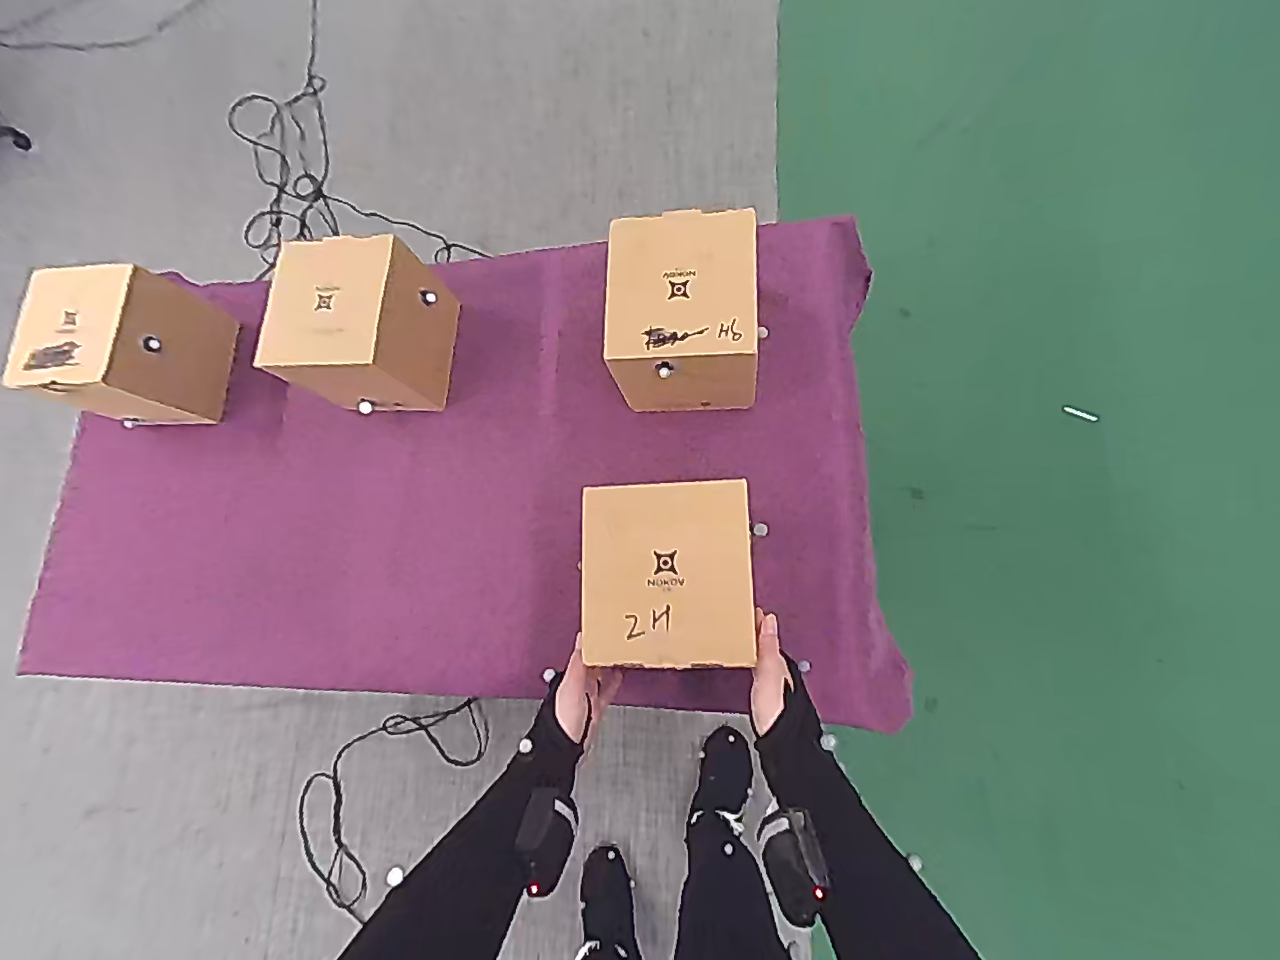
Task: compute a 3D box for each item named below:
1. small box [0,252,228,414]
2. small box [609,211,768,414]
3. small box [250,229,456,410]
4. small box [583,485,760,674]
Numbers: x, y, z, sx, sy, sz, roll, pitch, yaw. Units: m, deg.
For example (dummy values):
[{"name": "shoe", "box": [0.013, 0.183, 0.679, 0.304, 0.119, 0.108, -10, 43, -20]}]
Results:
[{"name": "small box", "box": [-0.741, -0.198, 0.776, 0.168, 0.176, 0.179, 1, 79, 8]}, {"name": "small box", "box": [0.064, -0.191, 0.654, 0.168, 0.176, 0.179, 1, 78, 10]}, {"name": "small box", "box": [-0.366, -0.206, 0.725, 0.168, 0.176, 0.179, 3, 80, 10]}, {"name": "small box", "box": [0.041, 0.108, 0.591, 0.168, 0.176, 0.179, -1, 78, 10]}]
